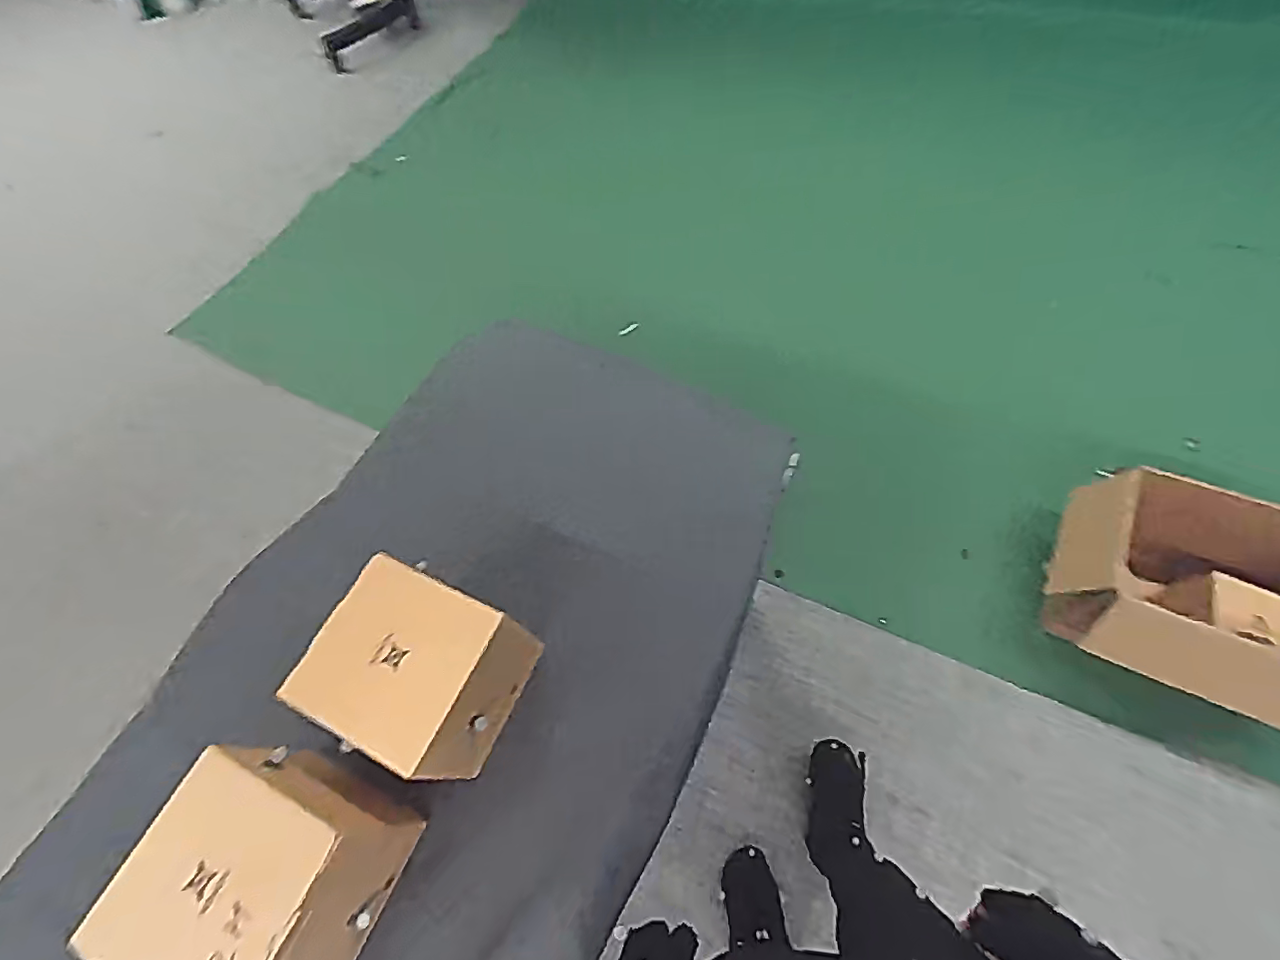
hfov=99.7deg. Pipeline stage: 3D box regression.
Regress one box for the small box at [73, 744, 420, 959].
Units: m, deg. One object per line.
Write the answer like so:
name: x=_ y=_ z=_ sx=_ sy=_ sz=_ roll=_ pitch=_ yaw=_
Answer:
small box: x=-0.361 y=0.386 z=0.533 sx=0.179 sy=0.176 sz=0.168 roll=19 pitch=66 yaw=16
